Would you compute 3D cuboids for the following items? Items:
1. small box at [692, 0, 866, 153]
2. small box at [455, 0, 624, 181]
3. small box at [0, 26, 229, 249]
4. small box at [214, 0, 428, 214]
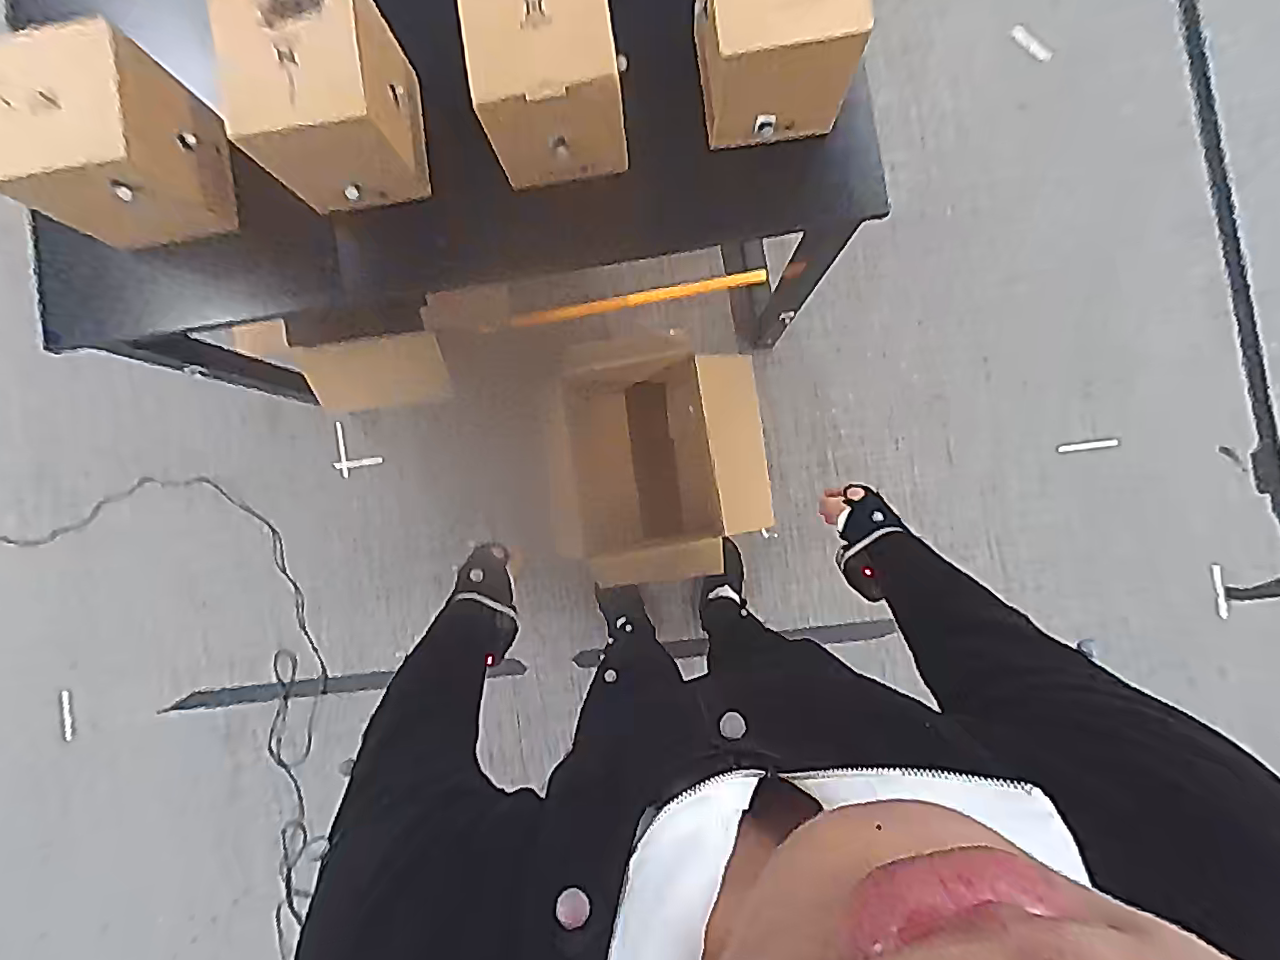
[{"bbox_3d":[0.157,-0.550,0.668,0.168,0.176,0.179,-8,88,4],"label":"small box"},{"bbox_3d":[-0.116,-0.504,0.679,0.168,0.176,0.179,-8,88,2],"label":"small box"},{"bbox_3d":[-0.671,-0.423,0.696,0.179,0.176,0.168,-9,87,2],"label":"small box"},{"bbox_3d":[-0.390,-0.474,0.688,0.168,0.176,0.179,-8,88,2],"label":"small box"}]
